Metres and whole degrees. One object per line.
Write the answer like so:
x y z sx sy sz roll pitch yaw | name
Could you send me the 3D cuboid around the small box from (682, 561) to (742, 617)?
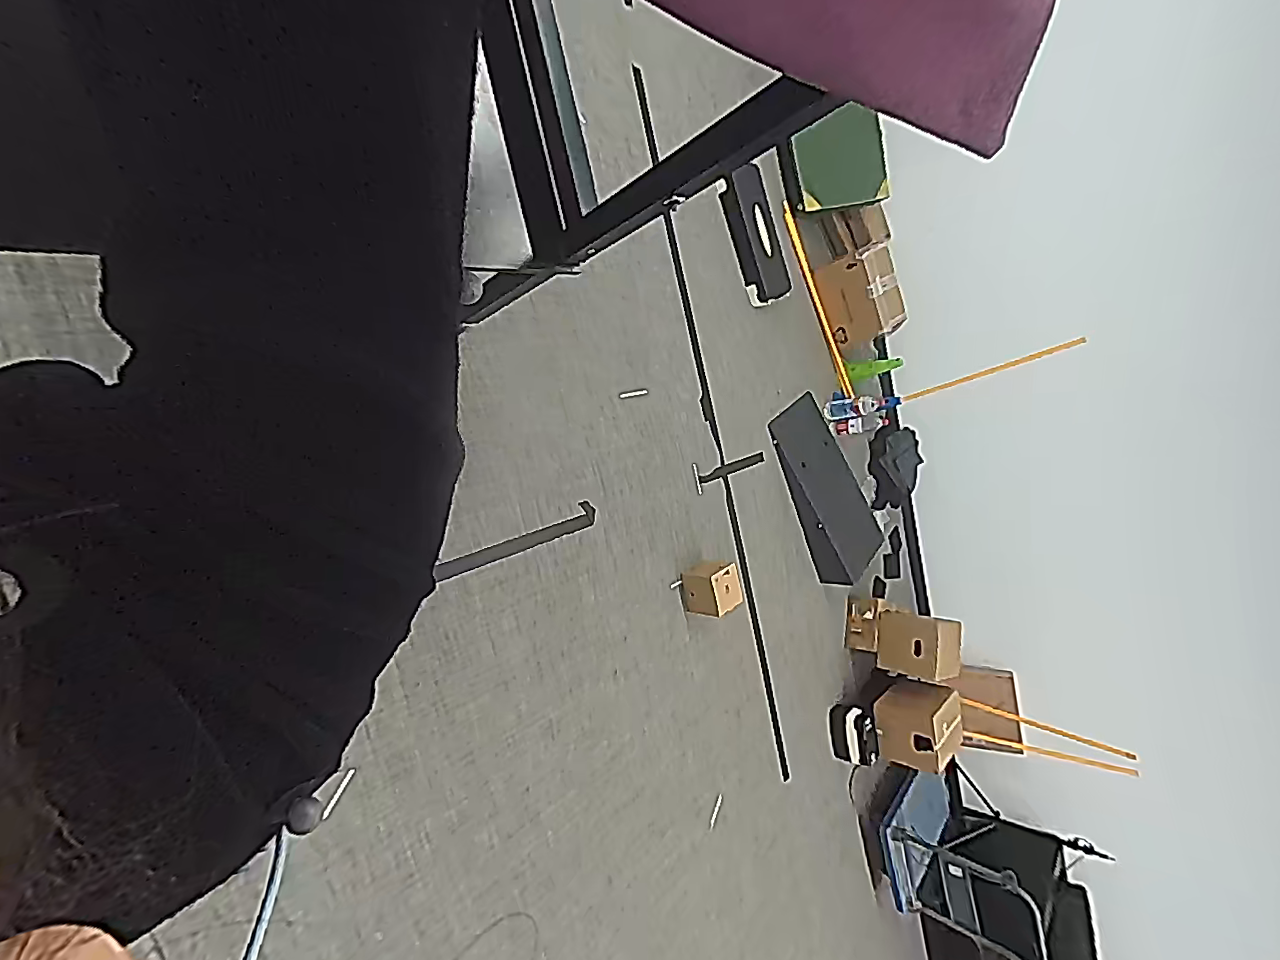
0.299 0.450 2.255 0.168 0.176 0.179 -20 101 -43 | small box
